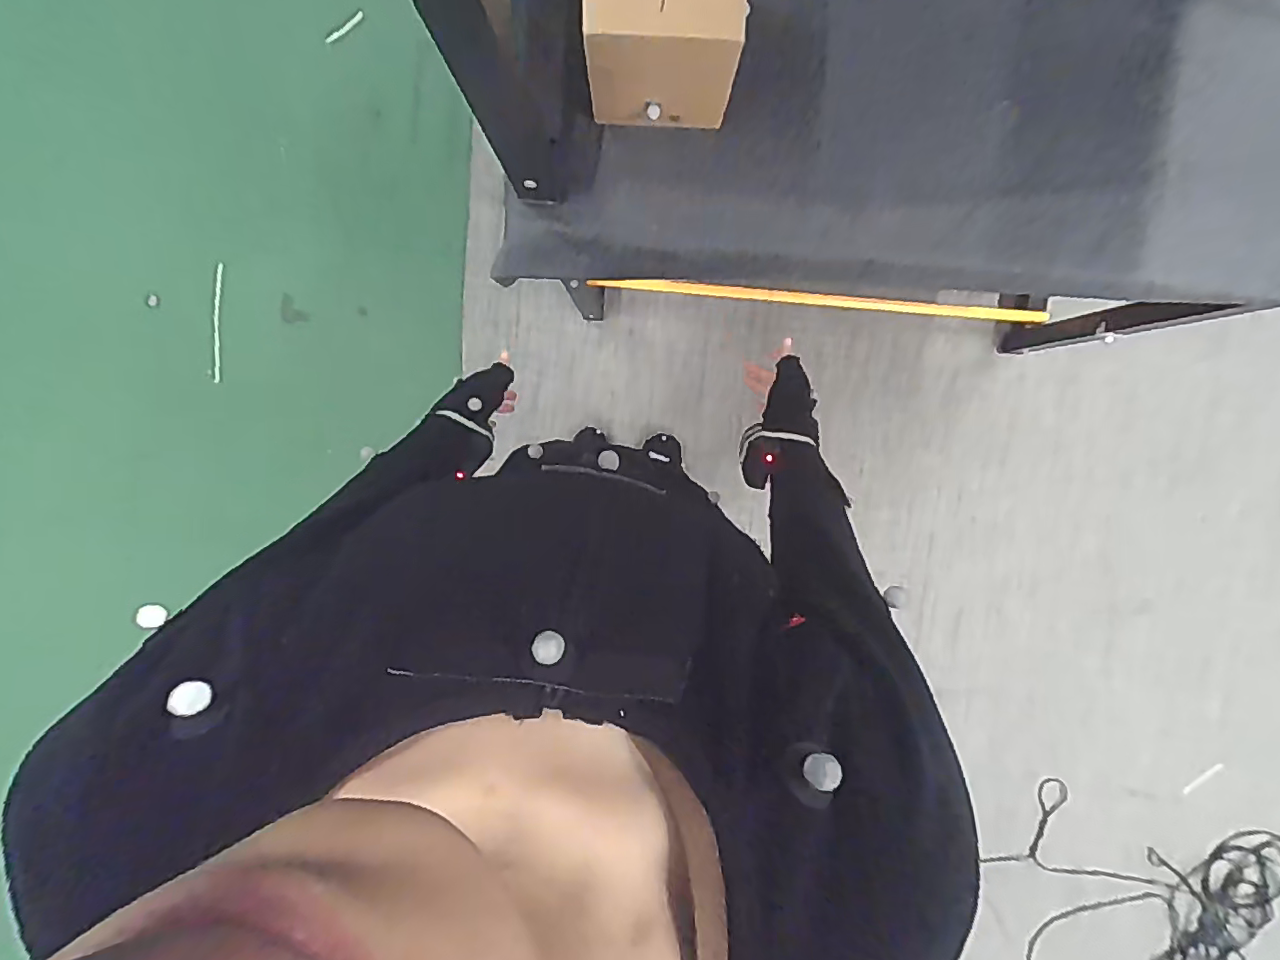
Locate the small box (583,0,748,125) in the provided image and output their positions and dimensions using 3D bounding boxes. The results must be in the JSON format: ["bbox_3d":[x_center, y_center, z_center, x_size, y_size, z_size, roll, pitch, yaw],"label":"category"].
[{"bbox_3d":[0.027,-0.540,0.606,0.168,0.176,0.179,2,96,0],"label":"small box"}]
